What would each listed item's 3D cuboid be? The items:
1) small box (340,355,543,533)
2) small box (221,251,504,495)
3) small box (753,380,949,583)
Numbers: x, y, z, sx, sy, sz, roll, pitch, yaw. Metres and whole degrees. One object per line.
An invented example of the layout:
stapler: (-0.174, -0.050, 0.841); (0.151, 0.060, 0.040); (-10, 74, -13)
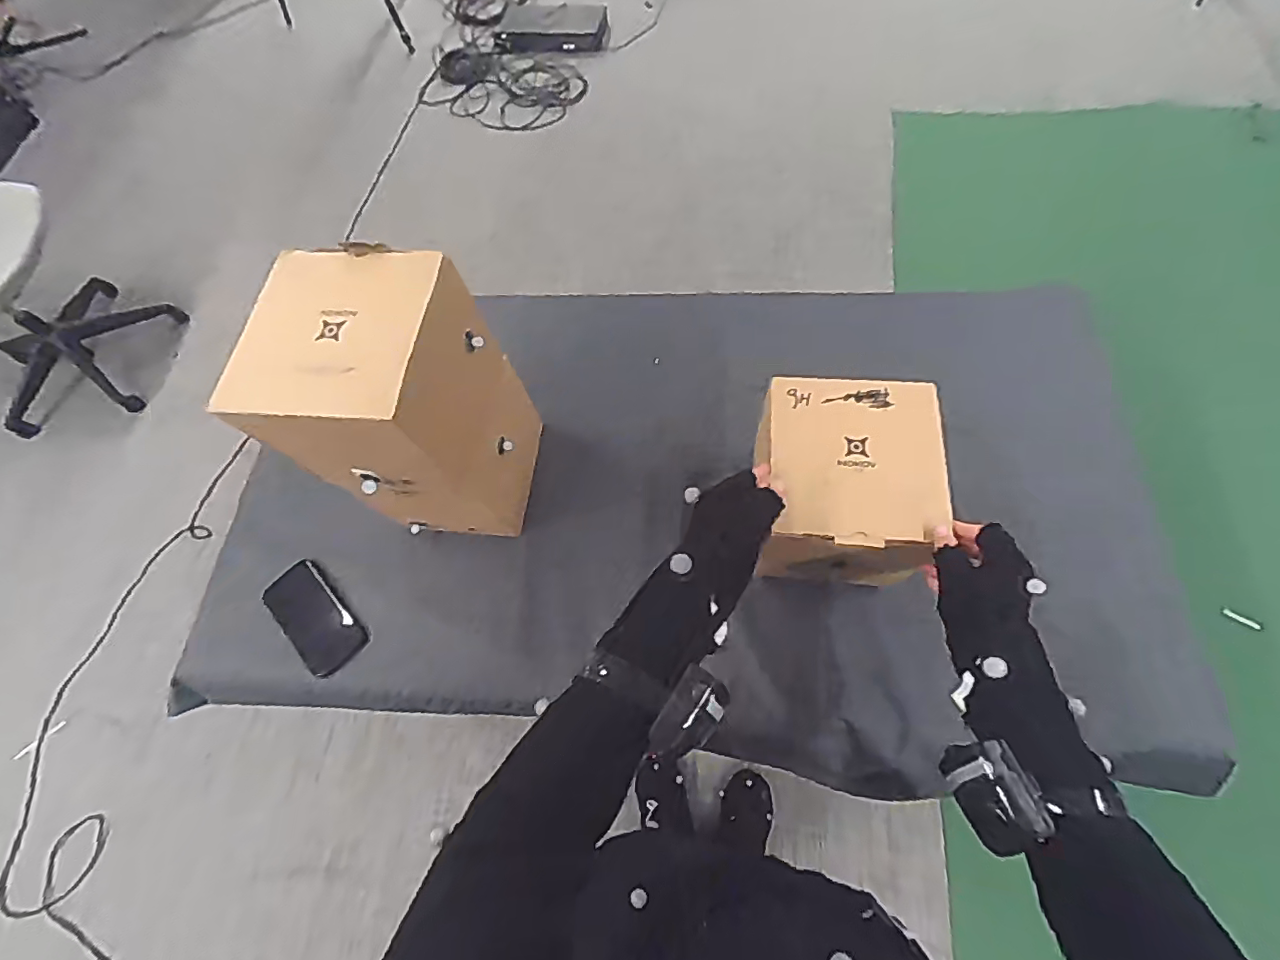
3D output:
small box: (-0.234, -0.041, 0.690); (0.168, 0.176, 0.179); (4, 67, 8)
small box: (-0.249, -0.100, 0.539); (0.168, 0.176, 0.179); (3, 68, 8)
small box: (0.218, 0.010, 0.601); (0.168, 0.176, 0.179); (4, 68, 8)
